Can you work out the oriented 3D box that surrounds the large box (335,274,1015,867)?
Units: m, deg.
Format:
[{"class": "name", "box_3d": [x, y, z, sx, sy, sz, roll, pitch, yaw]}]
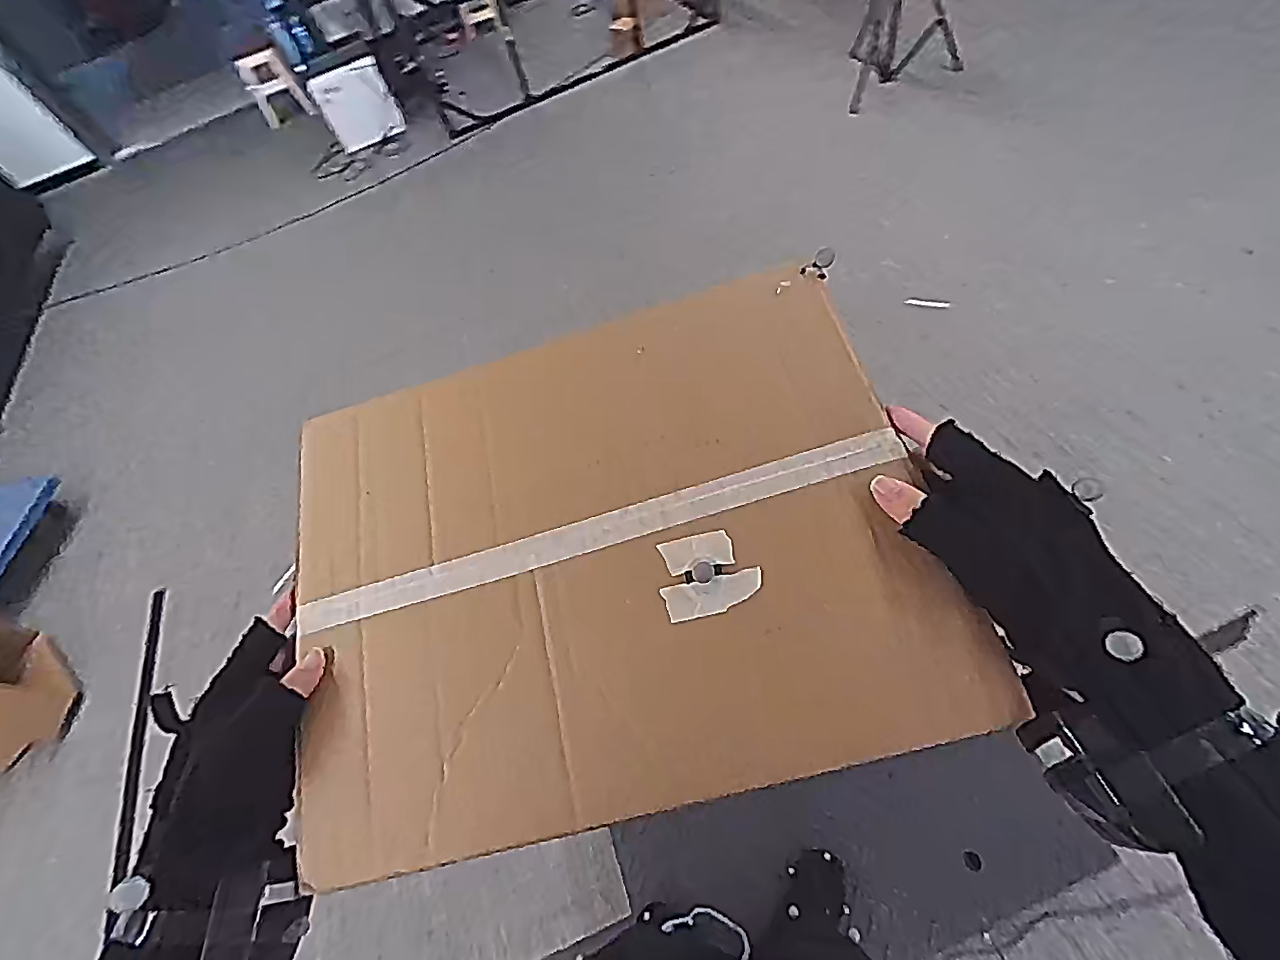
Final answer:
[{"class": "large box", "box_3d": [0.005, 0.090, 0.496, 0.408, 0.320, 0.320, -16, 68, 5]}]
